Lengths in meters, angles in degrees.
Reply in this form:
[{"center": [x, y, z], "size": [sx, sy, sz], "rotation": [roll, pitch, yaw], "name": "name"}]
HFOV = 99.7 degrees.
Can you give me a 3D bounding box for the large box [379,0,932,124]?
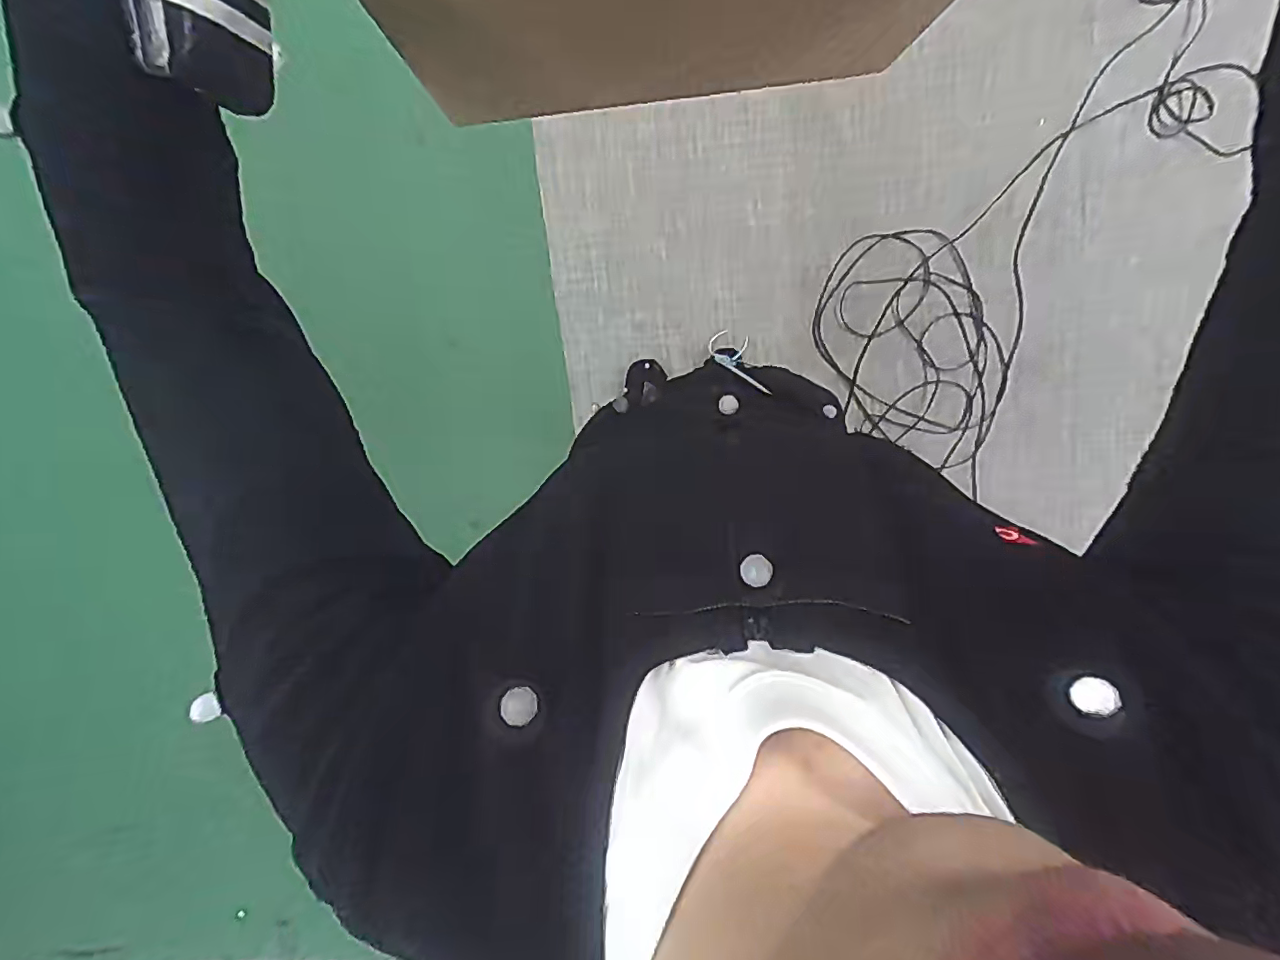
[{"center": [0.012, -0.466, 0.321], "size": [0.408, 0.320, 0.320], "rotation": [-8, 104, -2], "name": "large box"}]
